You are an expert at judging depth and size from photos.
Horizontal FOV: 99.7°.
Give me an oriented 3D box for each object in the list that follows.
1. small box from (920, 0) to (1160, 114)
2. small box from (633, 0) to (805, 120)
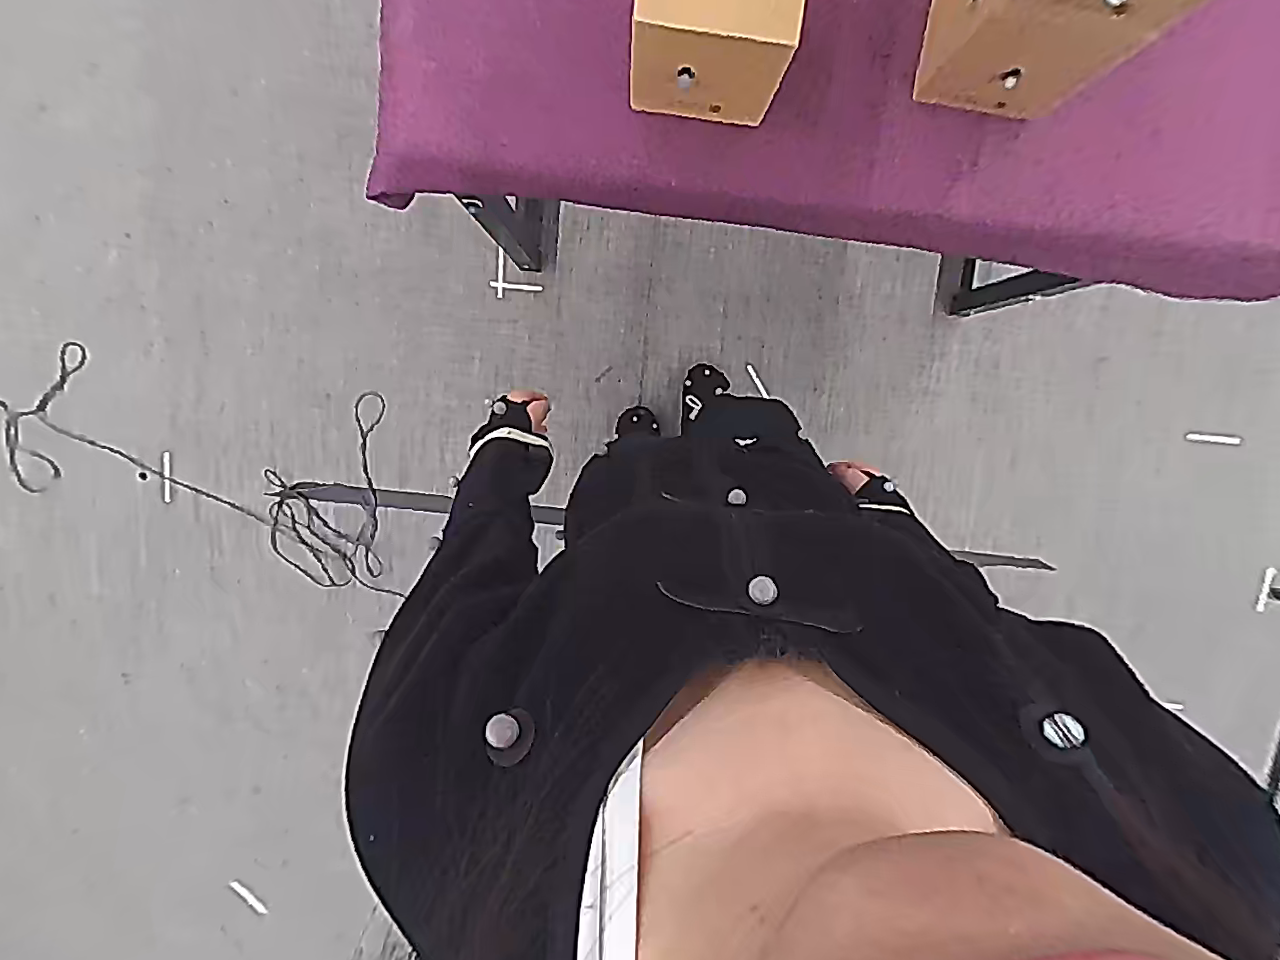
[{"bbox_3d":[0.440,-0.543,0.593,0.168,0.176,0.179,9,98,-3],"label":"small box"},{"bbox_3d":[0.084,-0.531,0.589,0.168,0.176,0.179,7,98,-2],"label":"small box"}]
